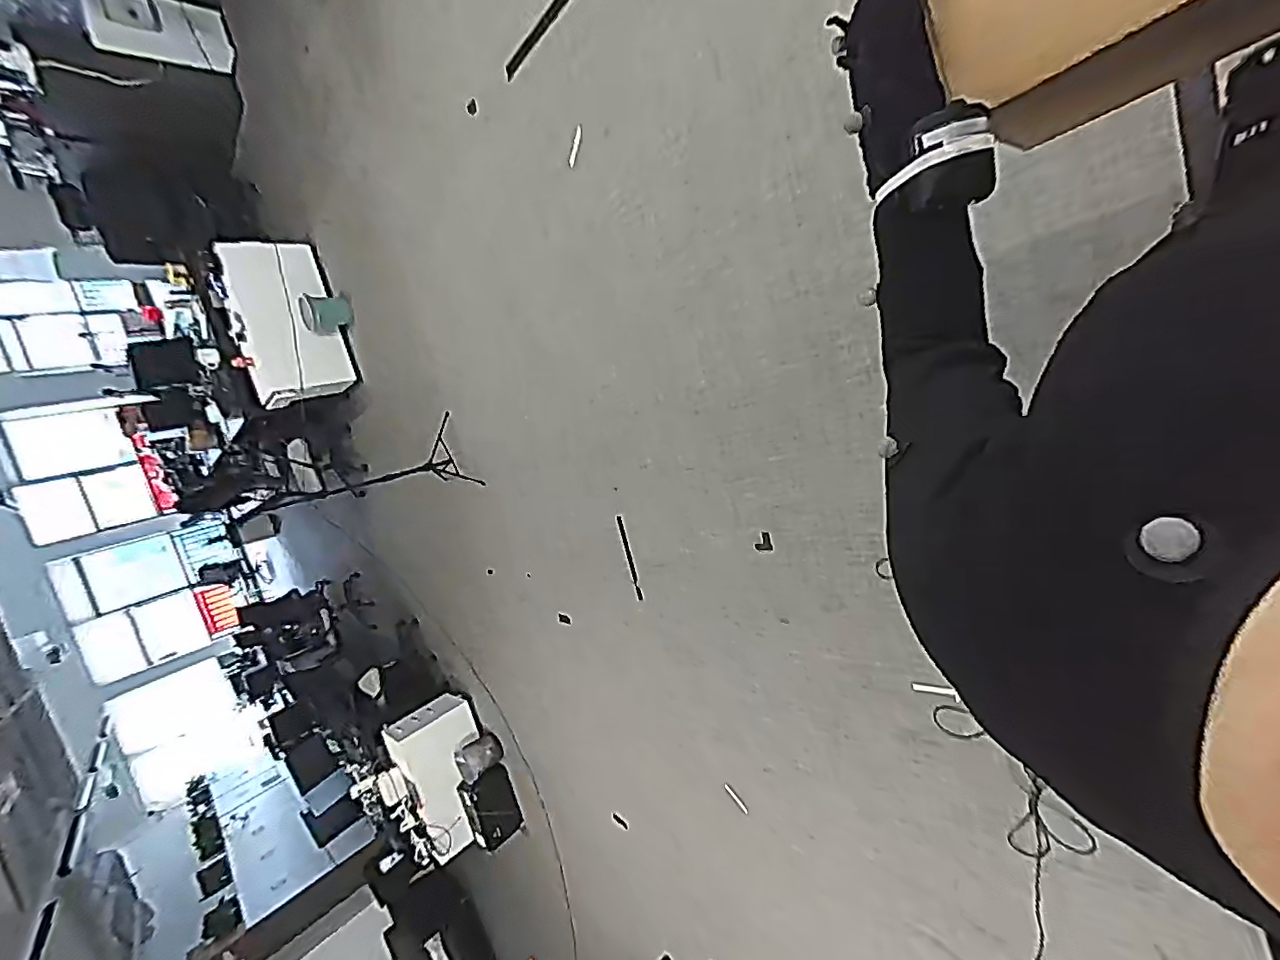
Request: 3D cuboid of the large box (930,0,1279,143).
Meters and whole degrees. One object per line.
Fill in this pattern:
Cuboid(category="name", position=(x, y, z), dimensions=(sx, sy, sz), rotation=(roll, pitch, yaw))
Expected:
Cuboid(category="large box", position=(0.427, -0.507, 0.364), dimensions=(0.408, 0.320, 0.320), rotation=(-12, 102, 46))
